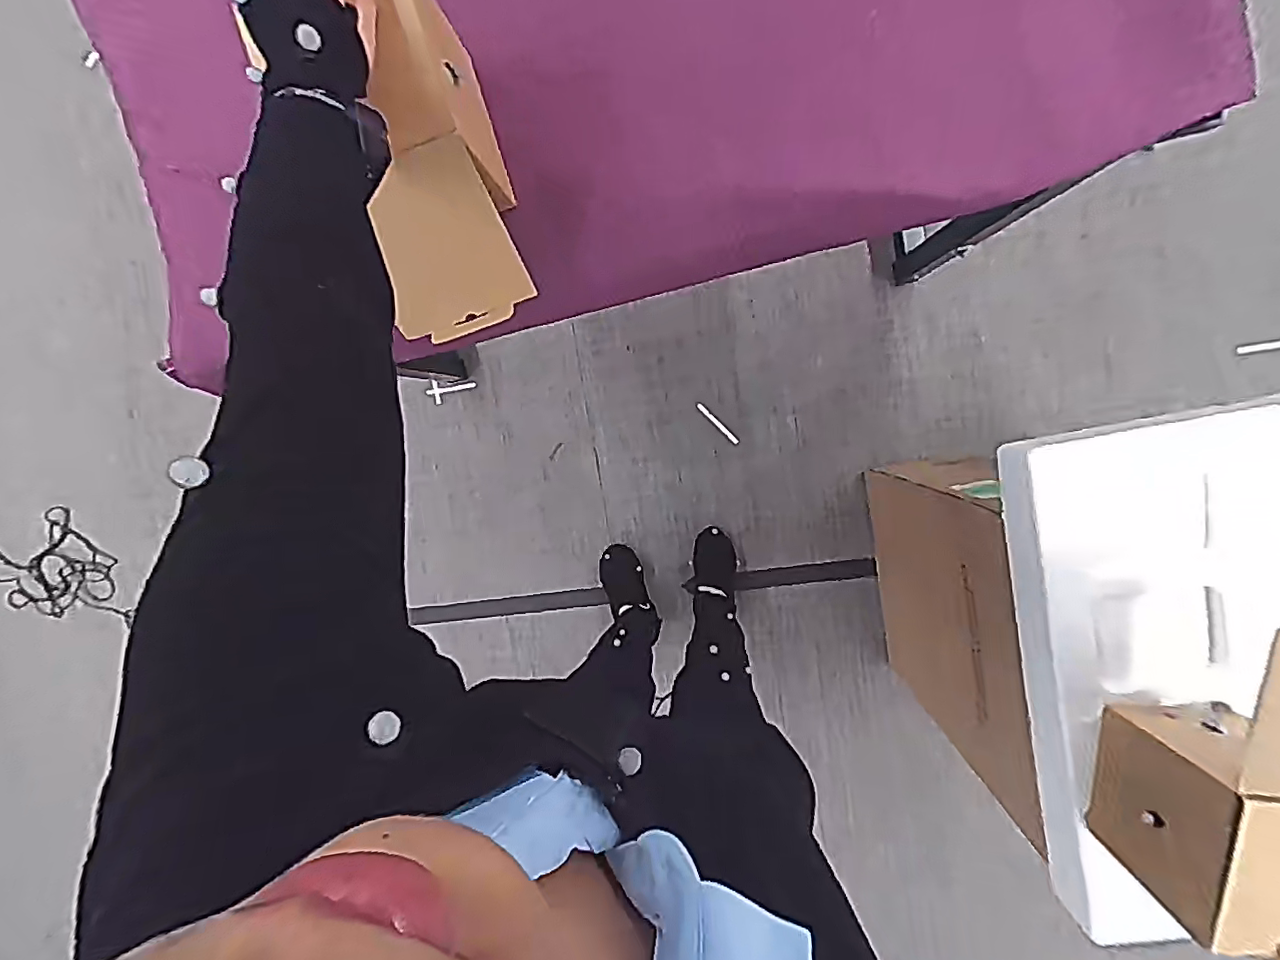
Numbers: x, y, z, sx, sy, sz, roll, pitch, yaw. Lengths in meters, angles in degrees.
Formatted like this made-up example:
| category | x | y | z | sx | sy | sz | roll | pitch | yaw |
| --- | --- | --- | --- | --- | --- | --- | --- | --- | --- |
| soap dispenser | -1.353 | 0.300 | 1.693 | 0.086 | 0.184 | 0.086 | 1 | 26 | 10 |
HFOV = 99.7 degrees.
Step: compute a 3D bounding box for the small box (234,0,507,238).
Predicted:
| category | x | y | z | sx | sy | sz | roll | pitch | yaw |
| --- | --- | --- | --- | --- | --- | --- | --- | --- | --- |
| small box | -0.258 | -0.375 | 0.563 | 0.168 | 0.176 | 0.179 | -17 | 93 | 6 |
